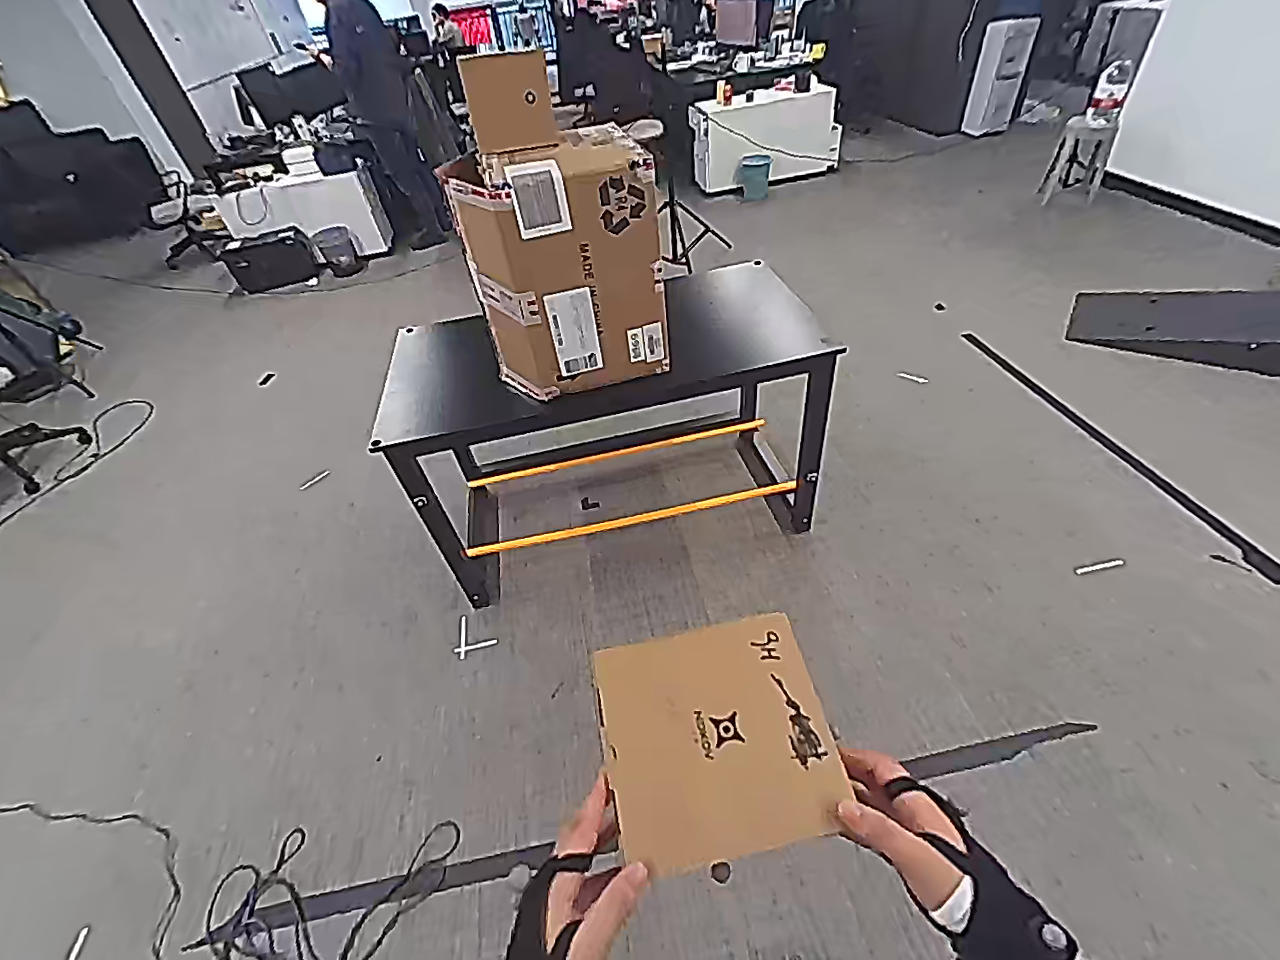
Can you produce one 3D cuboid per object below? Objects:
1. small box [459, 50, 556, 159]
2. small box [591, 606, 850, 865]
[{"bbox_3d":[-0.287,-0.827,1.190,0.179,0.176,0.168,-14,41,-7],"label":"small box"},{"bbox_3d":[0.062,0.241,0.501,0.179,0.176,0.168,-11,54,-4],"label":"small box"}]
